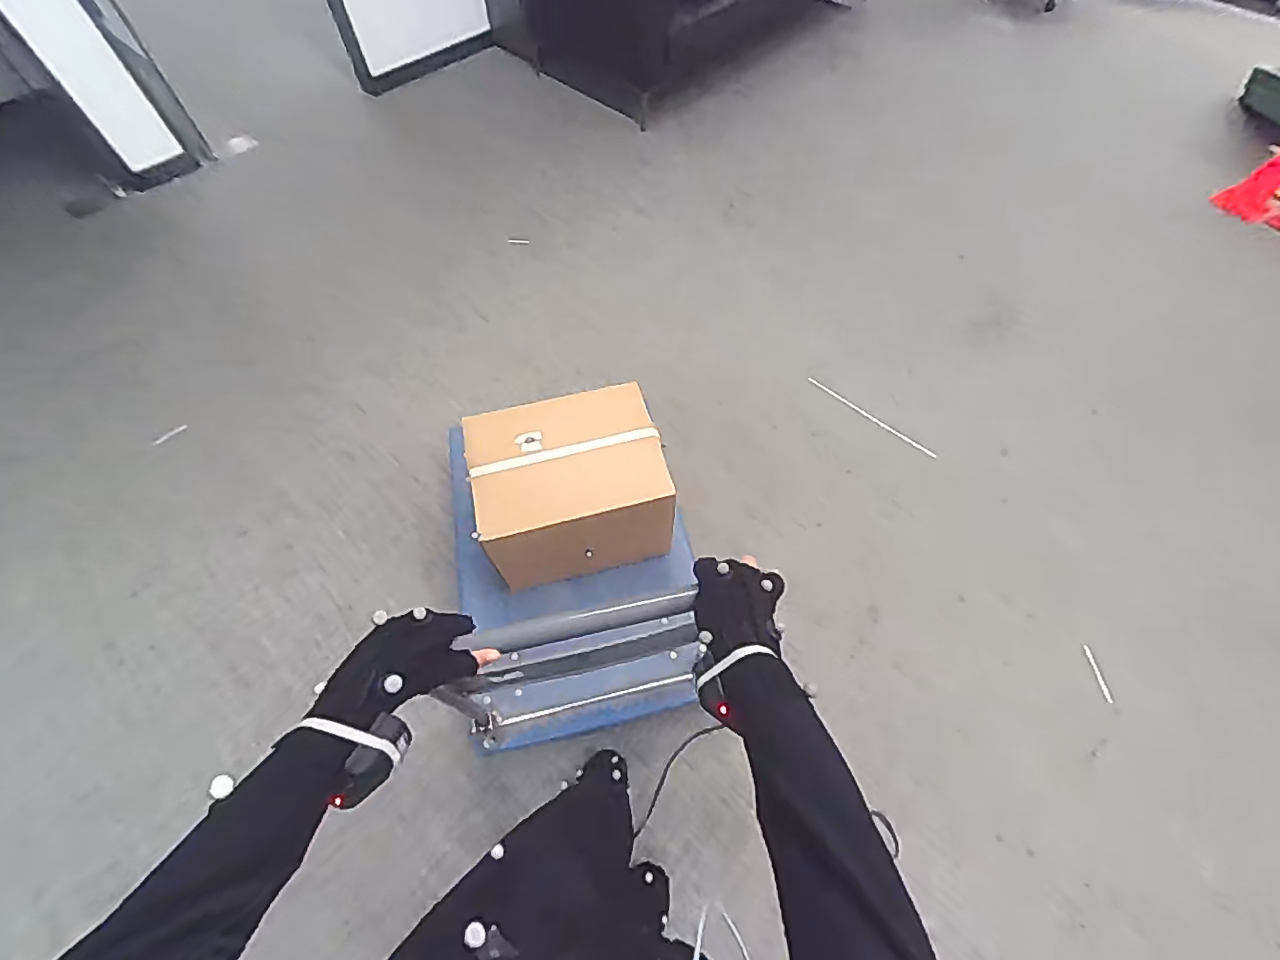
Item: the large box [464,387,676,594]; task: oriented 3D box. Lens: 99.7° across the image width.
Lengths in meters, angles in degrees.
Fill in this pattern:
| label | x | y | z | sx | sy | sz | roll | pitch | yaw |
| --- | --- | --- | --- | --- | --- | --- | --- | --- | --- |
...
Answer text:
| label | x | y | z | sx | sy | sz | roll | pitch | yaw |
| --- | --- | --- | --- | --- | --- | --- | --- | --- | --- |
| large box | -0.156 | 0.033 | 1.278 | 0.408 | 0.320 | 0.320 | -14 | 60 | -8 |
